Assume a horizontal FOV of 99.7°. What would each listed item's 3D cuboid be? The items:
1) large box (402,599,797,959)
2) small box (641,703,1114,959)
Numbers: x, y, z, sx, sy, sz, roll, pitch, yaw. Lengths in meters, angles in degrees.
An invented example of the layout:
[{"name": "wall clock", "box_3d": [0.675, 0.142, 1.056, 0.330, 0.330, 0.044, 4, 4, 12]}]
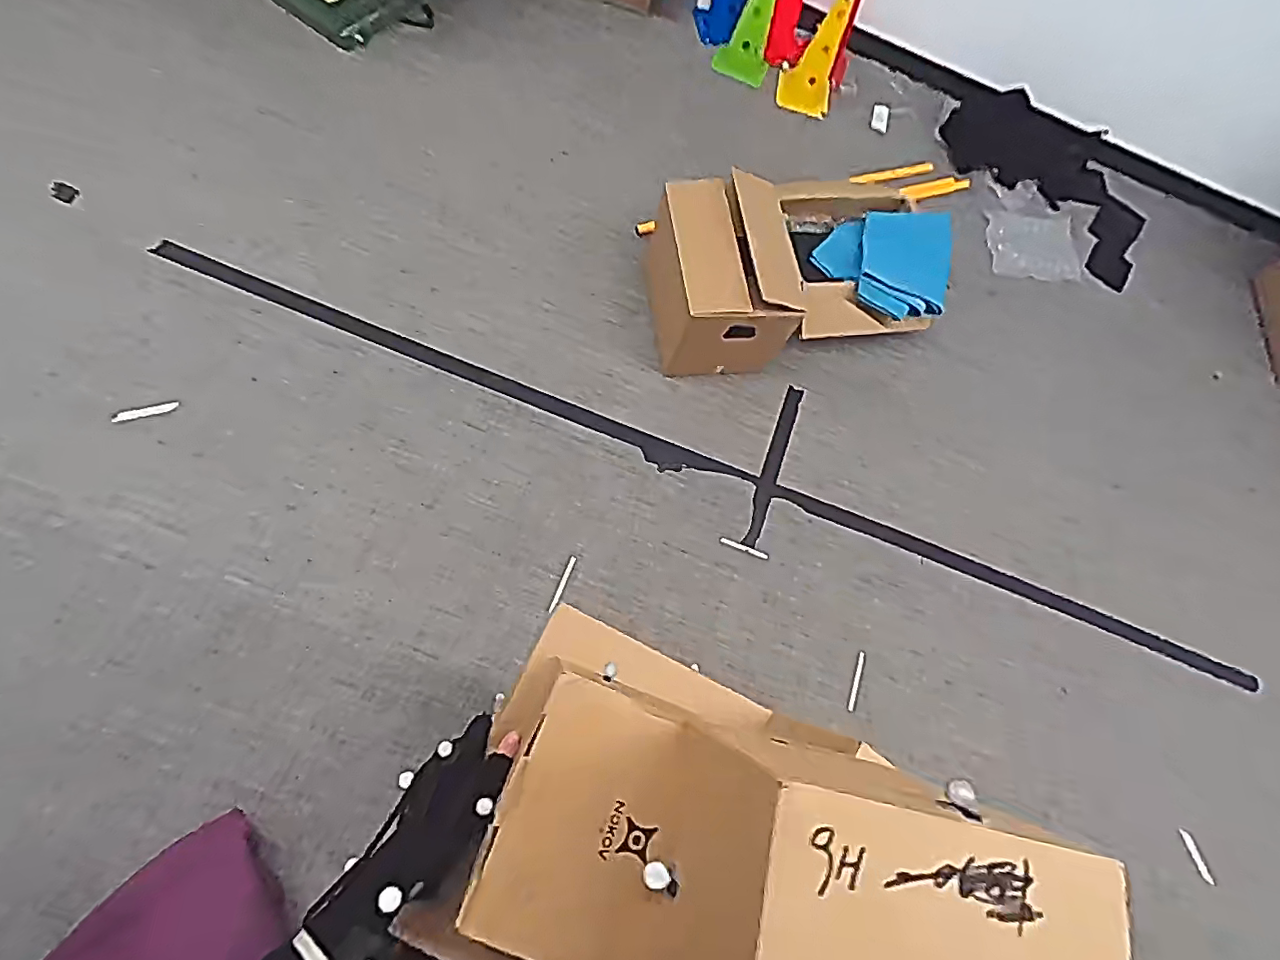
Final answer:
[{"name": "large box", "box_3d": [0.001, 0.378, 0.667, 0.408, 0.320, 0.320, 27, 73, -2]}, {"name": "small box", "box_3d": [0.103, 0.240, 0.295, 0.168, 0.176, 0.179, 16, 73, -4]}]
